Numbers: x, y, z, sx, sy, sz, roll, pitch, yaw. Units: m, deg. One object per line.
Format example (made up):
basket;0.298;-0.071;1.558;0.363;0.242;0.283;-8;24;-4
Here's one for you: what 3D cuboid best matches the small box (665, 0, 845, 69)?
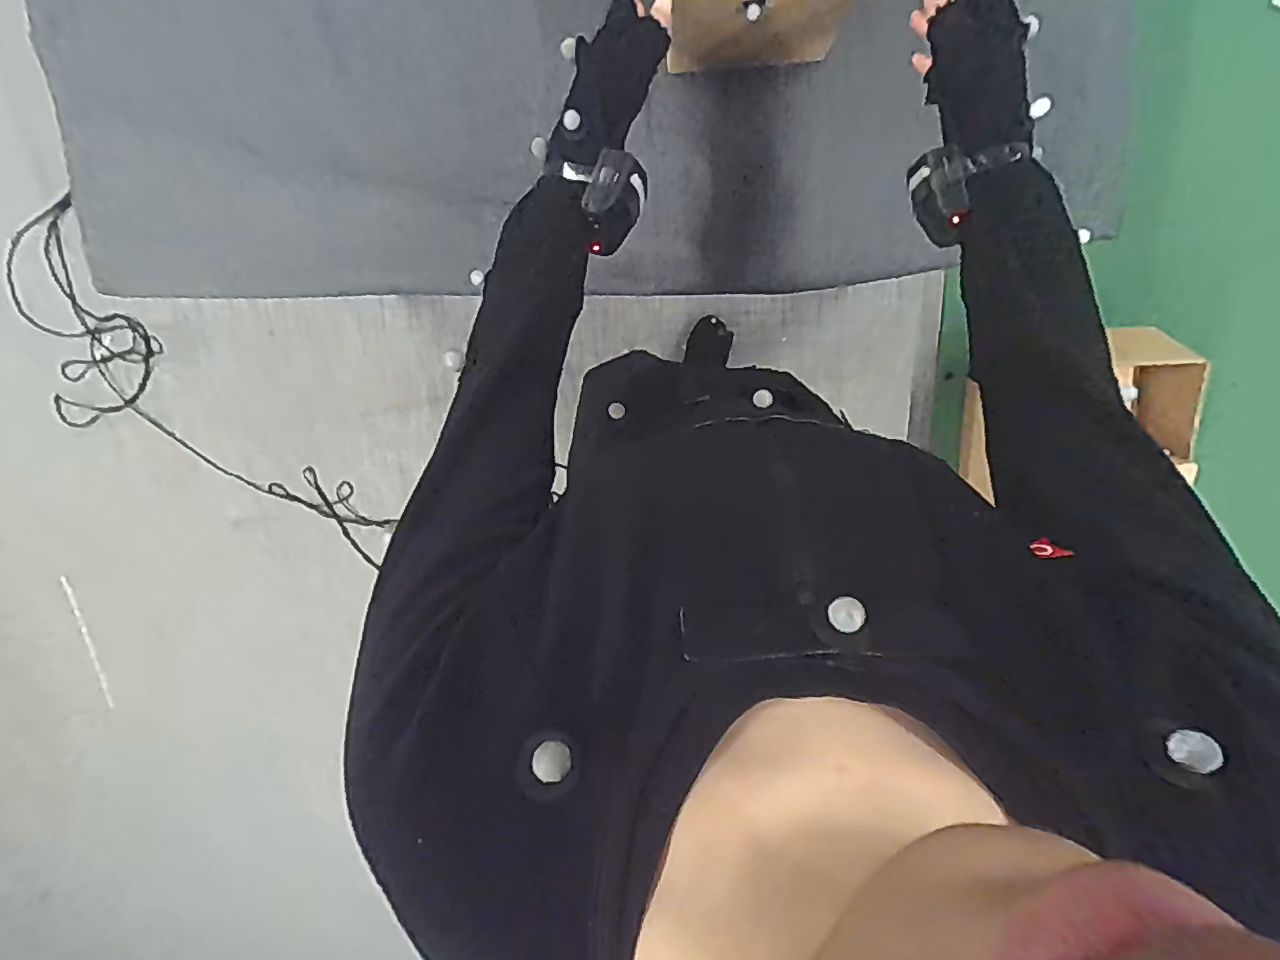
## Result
small box;0.109;-0.523;0.512;0.179;0.176;0.168;-3;105;2
